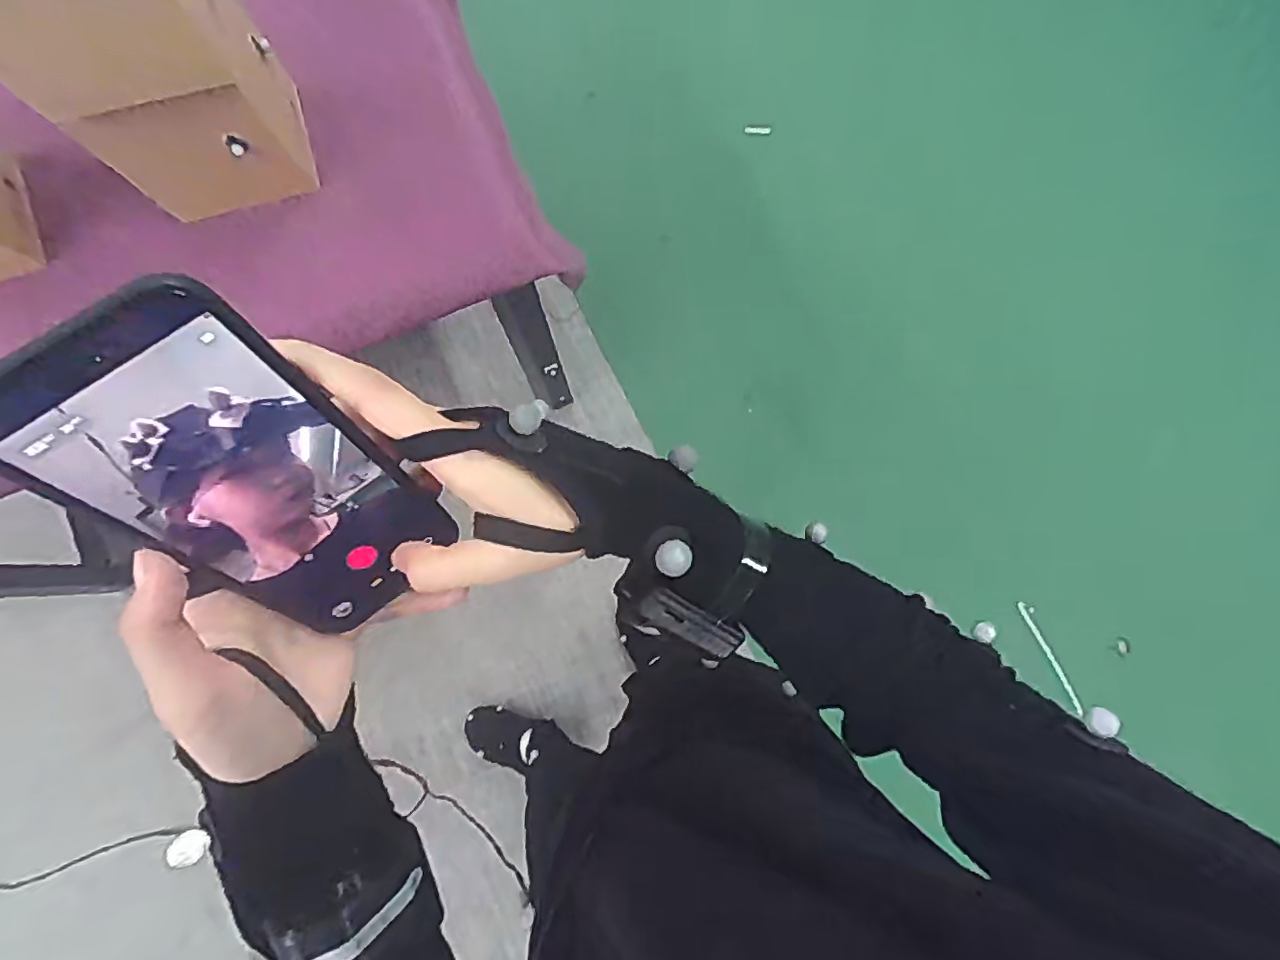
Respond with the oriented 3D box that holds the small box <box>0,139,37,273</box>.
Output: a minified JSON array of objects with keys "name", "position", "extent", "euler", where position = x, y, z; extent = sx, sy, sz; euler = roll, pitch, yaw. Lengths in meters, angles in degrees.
[{"name":"small box","position":[-0.828,-0.327,0.588],"extent":[0.179,0.176,0.168],"euler":[-22,82,-5]}]

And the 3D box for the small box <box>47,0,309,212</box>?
[{"name":"small box","position":[-0.509,-0.442,0.614],"extent":[0.179,0.176,0.168],"euler":[-16,81,-3]}]

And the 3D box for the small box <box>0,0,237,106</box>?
[{"name":"small box","position":[-0.491,-0.457,0.451],"extent":[0.179,0.176,0.168],"euler":[-16,82,-4]}]
